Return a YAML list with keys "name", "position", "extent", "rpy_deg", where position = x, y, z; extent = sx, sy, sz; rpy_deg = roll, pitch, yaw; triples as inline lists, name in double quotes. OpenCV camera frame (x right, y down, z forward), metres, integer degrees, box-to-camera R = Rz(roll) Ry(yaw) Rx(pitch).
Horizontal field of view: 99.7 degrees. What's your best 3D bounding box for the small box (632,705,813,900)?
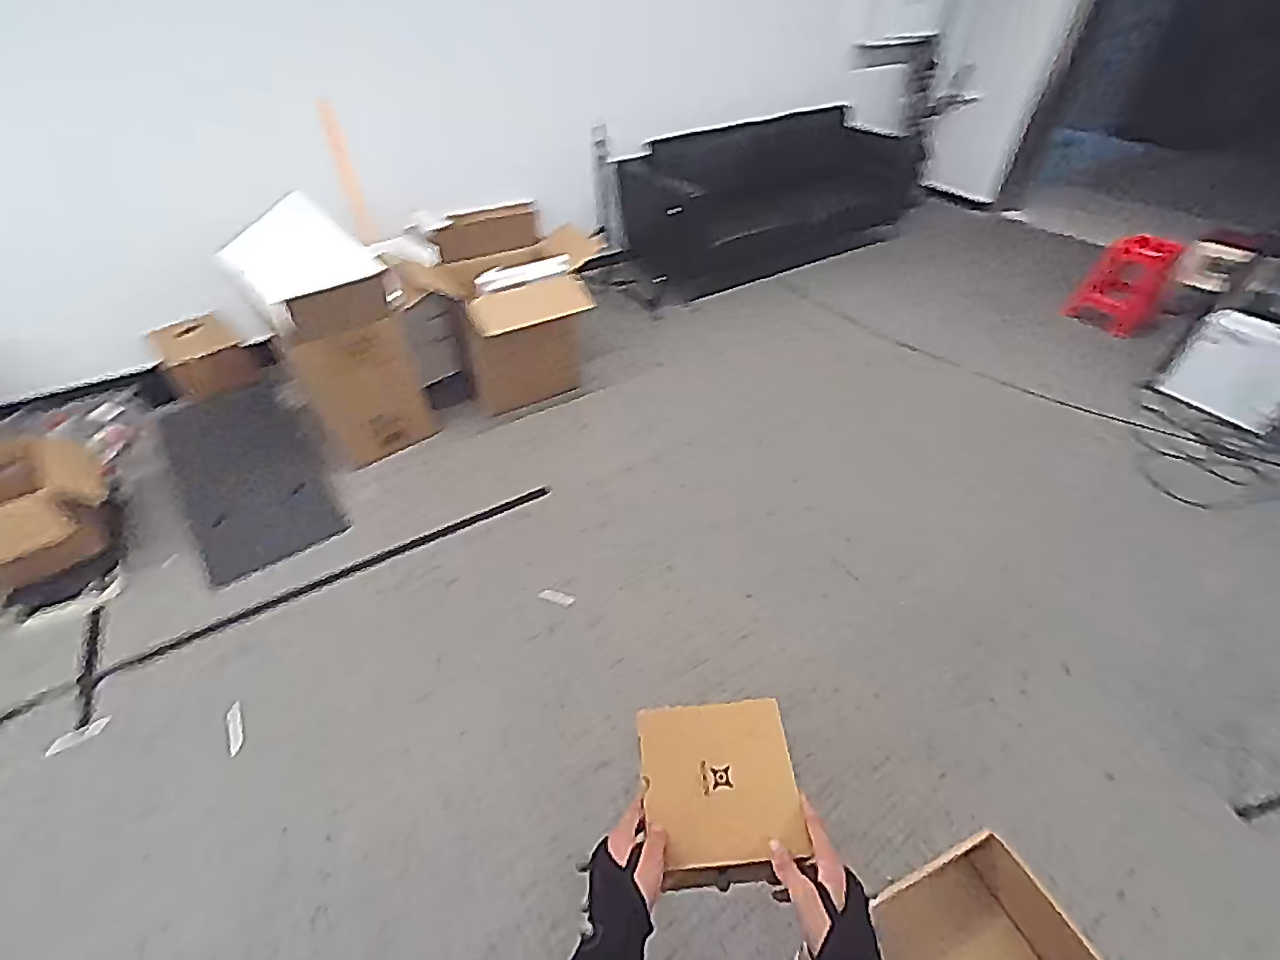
- name: "small box"
  position: [0.088, 0.392, 0.654]
  extent: [0.179, 0.176, 0.168]
  rpy_deg: [-7, 48, 0]
